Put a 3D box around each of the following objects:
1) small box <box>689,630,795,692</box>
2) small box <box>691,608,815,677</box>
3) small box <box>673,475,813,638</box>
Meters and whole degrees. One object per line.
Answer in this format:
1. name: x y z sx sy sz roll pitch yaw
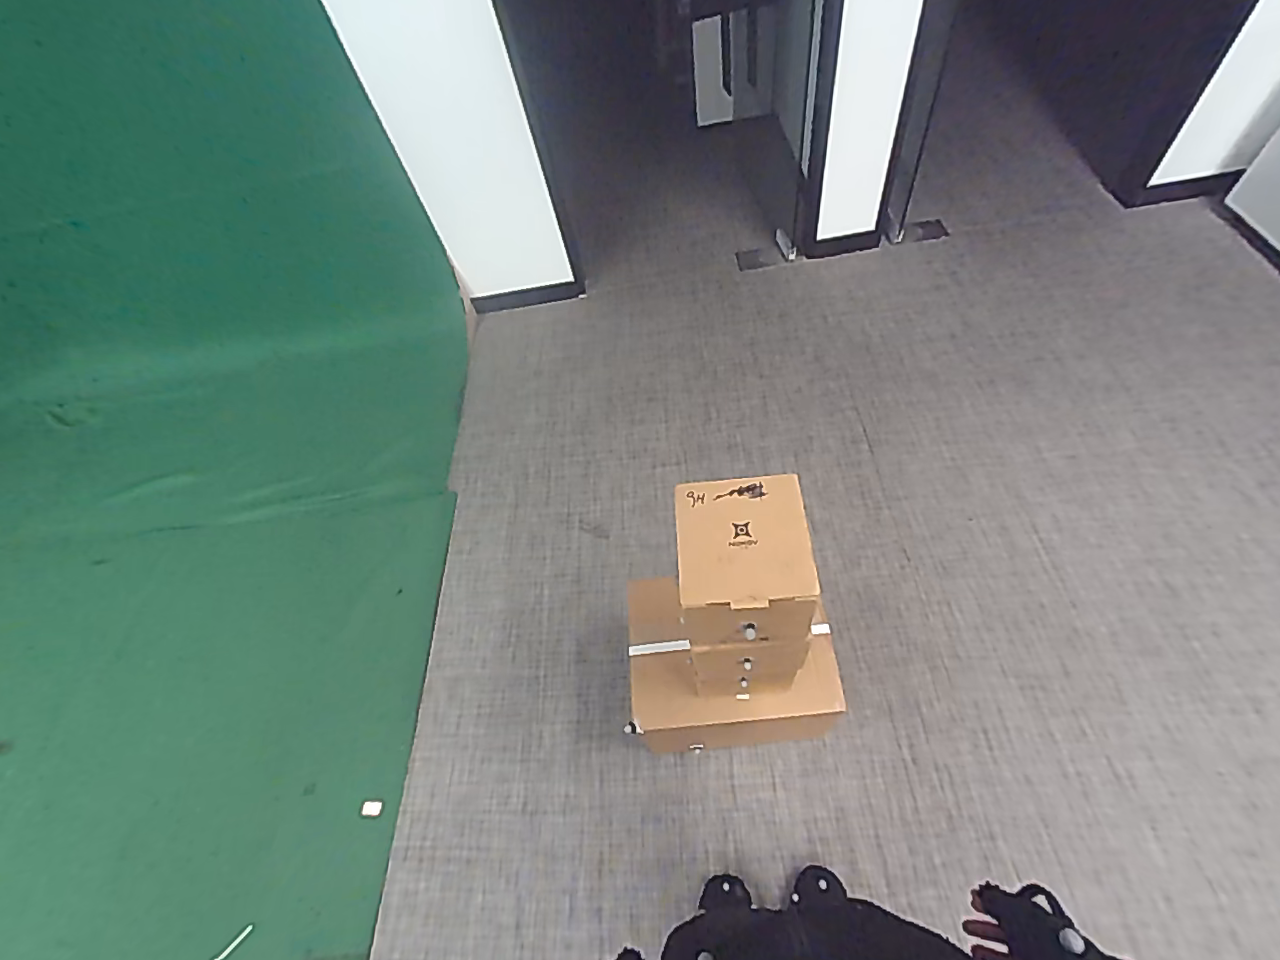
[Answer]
1. small box: 0.185 0.294 1.019 0.179 0.176 0.168 -6 57 6
2. small box: 0.167 0.210 0.879 0.179 0.176 0.168 -10 57 4
3. small box: 0.139 0.114 0.749 0.168 0.176 0.179 -5 58 9
